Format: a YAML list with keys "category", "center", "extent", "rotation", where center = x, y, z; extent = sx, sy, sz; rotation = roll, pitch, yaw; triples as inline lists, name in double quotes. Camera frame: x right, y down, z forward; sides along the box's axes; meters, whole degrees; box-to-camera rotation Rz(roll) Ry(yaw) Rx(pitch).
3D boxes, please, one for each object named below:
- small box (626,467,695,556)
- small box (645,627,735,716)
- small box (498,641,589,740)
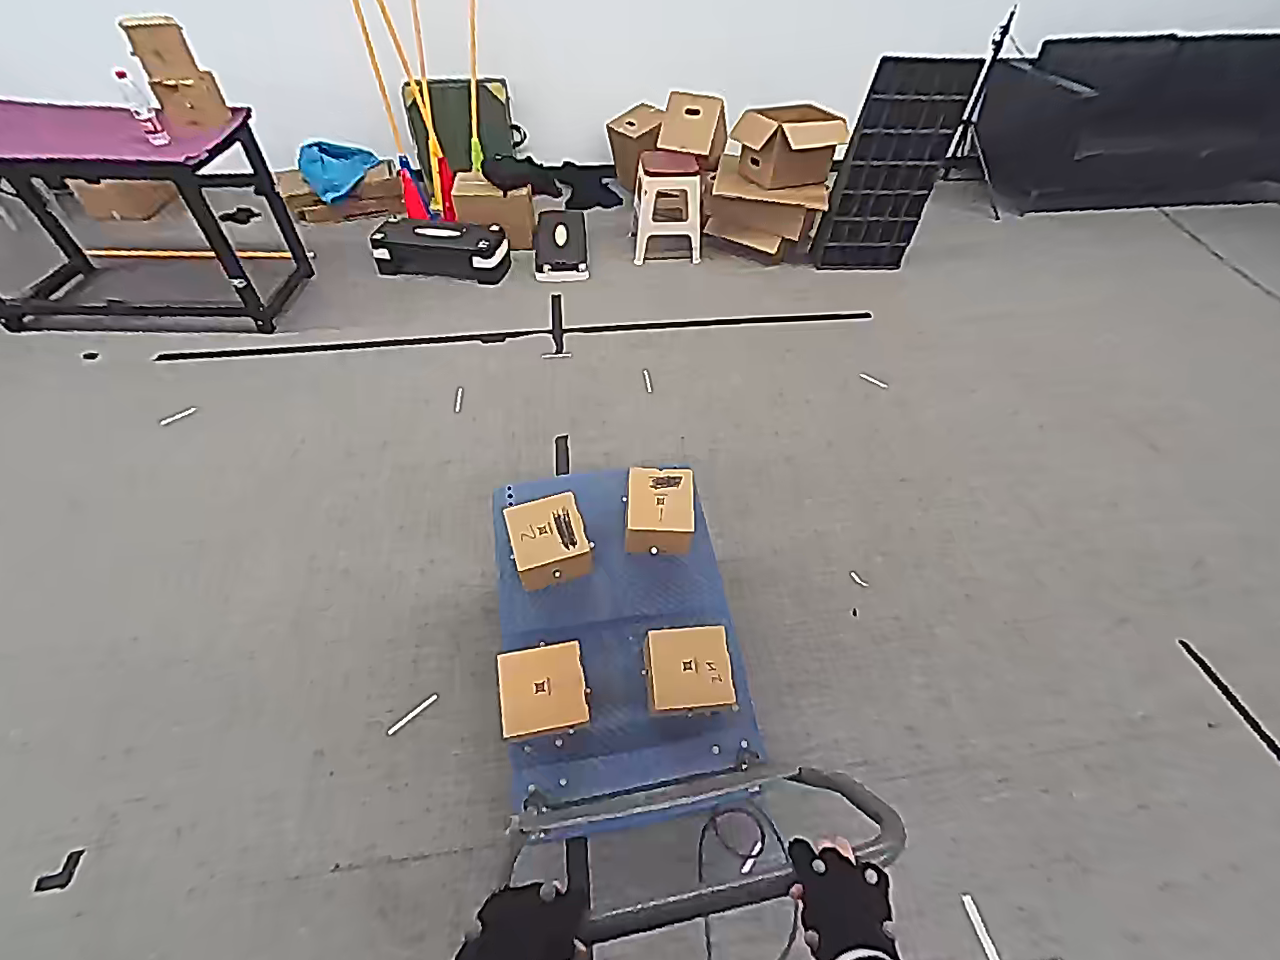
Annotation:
- category: "small box"
  center: [0.050, 0.085, 1.419]
  extent: [0.168, 0.176, 0.179]
  rotation: [3, 63, -3]
- category: "small box"
  center: [0.105, 0.440, 1.235]
  extent: [0.179, 0.176, 0.168]
  rotation: [-2, 62, -6]
- category: "small box"
  center: [-0.209, 0.468, 1.194]
  extent: [0.179, 0.176, 0.168]
  rotation: [-7, 63, -10]
